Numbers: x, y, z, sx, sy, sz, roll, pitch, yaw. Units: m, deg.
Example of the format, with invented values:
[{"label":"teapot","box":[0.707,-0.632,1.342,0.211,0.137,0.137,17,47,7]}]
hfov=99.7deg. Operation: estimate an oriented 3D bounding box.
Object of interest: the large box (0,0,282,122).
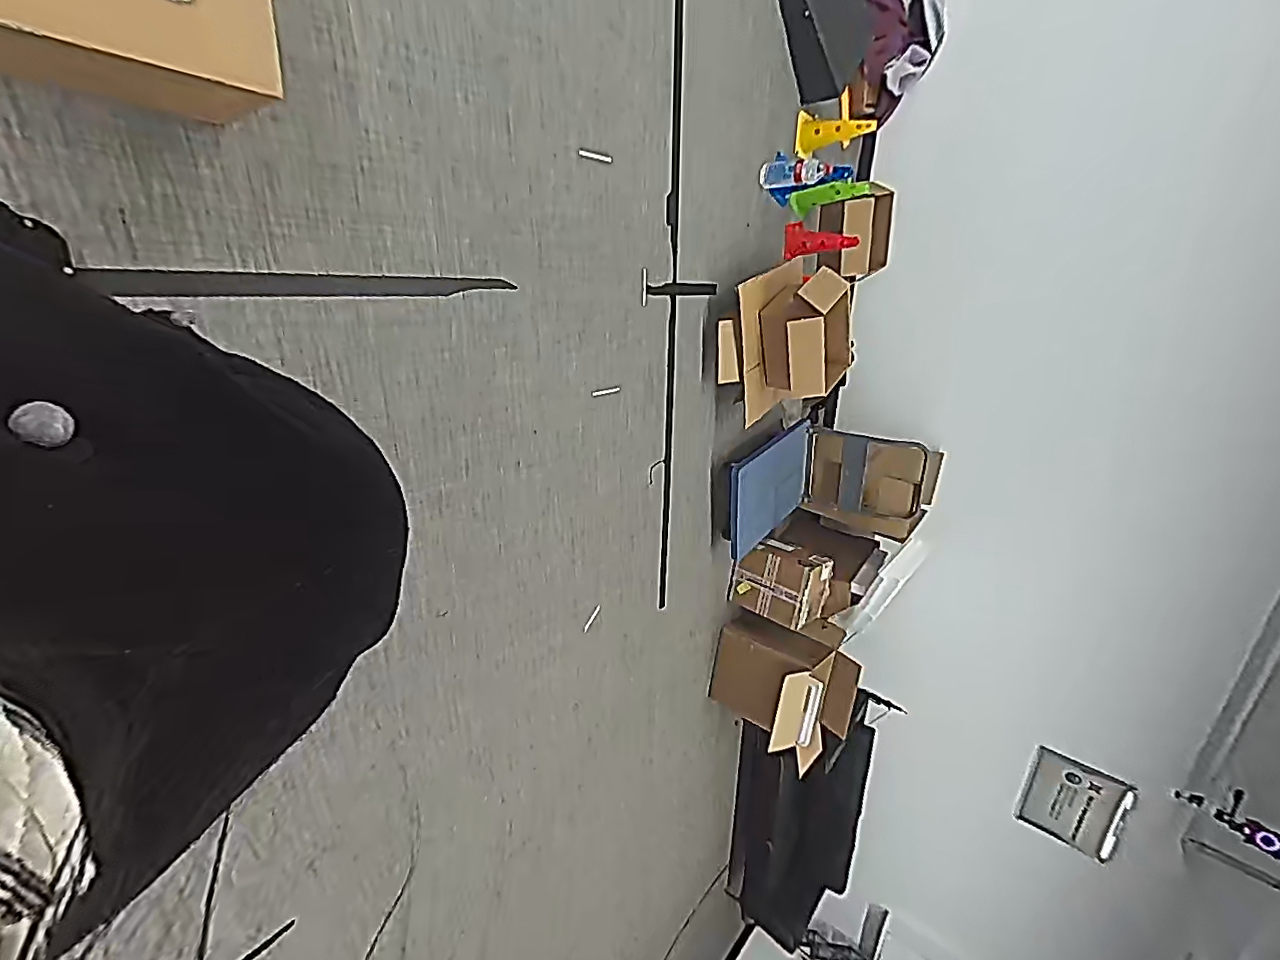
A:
[{"label":"large box","box":[-0.841,-0.783,0.807,0.408,0.320,0.320,-20,119,-48]}]
